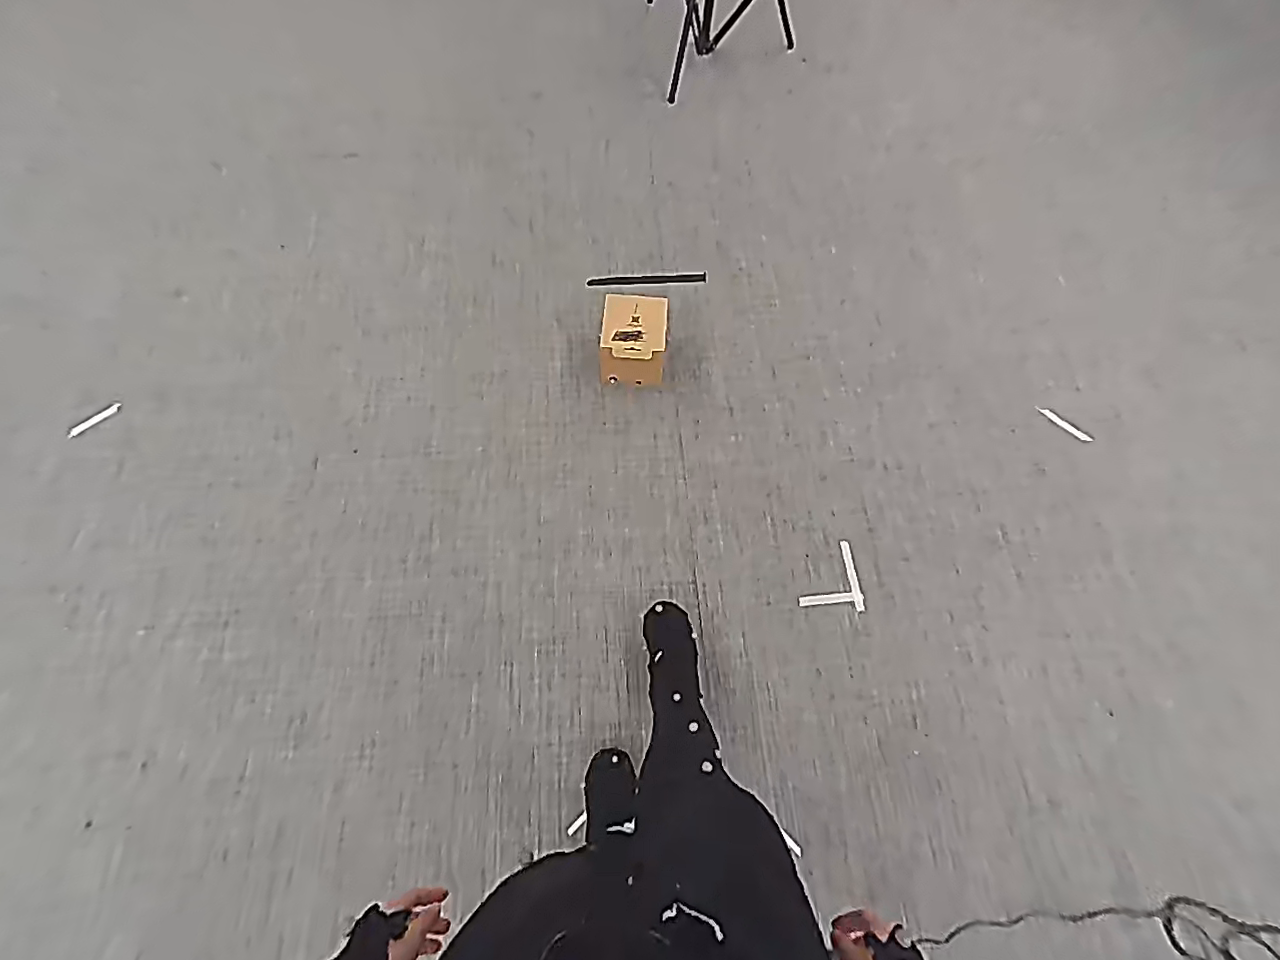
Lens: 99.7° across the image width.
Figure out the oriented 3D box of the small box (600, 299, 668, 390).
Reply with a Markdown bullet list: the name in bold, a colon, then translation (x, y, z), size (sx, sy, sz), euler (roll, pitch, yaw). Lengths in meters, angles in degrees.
- **small box**: translation (-0.015, -0.360, 1.463), size (0.168, 0.176, 0.179), euler (4, 67, 0)
